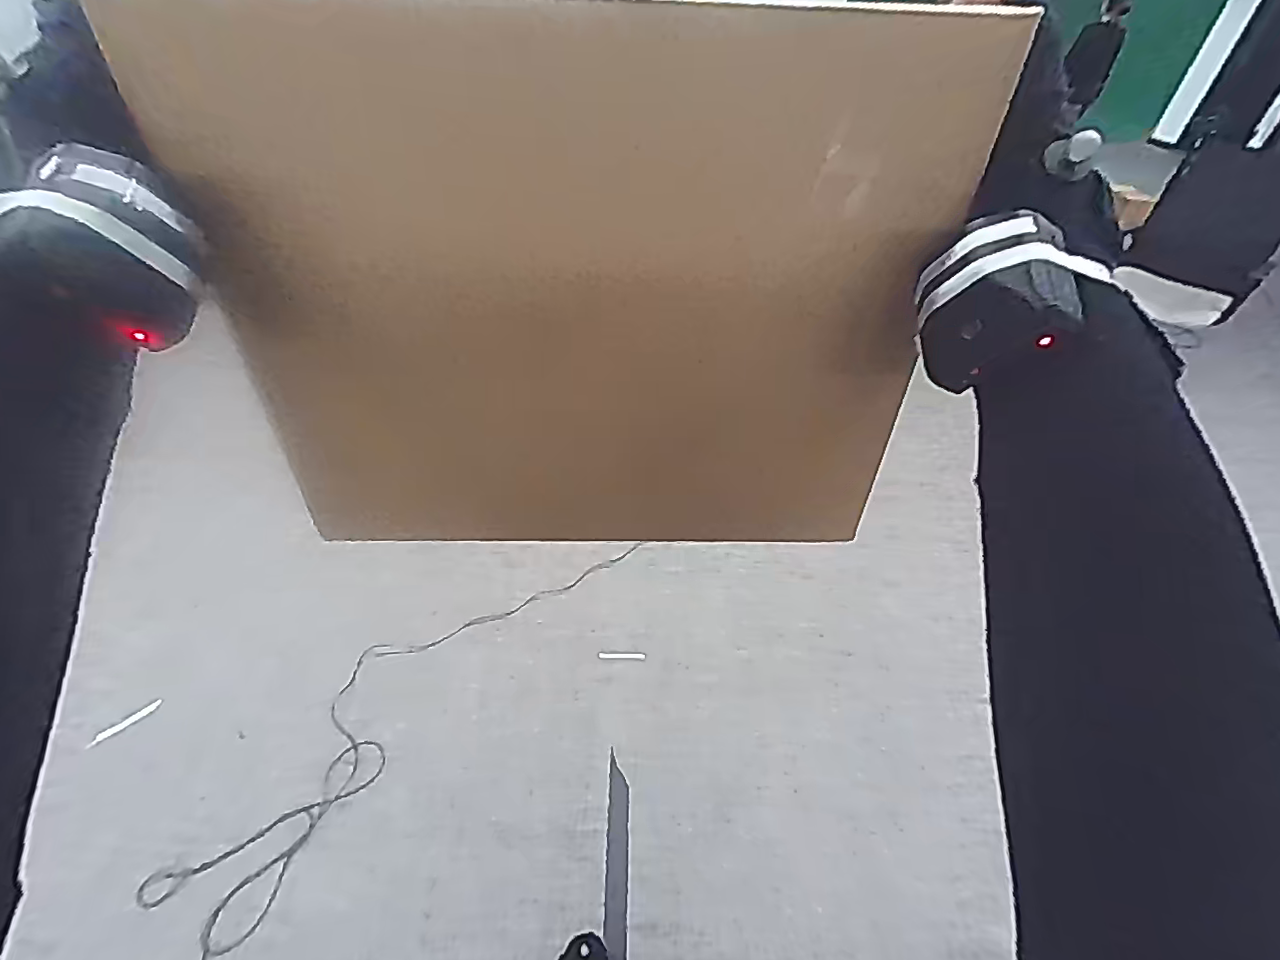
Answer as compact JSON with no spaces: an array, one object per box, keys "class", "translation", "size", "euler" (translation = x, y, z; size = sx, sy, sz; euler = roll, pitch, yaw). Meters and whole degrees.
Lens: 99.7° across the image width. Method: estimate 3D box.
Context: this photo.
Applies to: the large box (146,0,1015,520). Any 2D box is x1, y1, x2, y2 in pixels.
[{"class":"large box","translation":[-0.033,-0.178,0.447],"size":[0.408,0.320,0.320],"euler":[1,37,-3]}]
